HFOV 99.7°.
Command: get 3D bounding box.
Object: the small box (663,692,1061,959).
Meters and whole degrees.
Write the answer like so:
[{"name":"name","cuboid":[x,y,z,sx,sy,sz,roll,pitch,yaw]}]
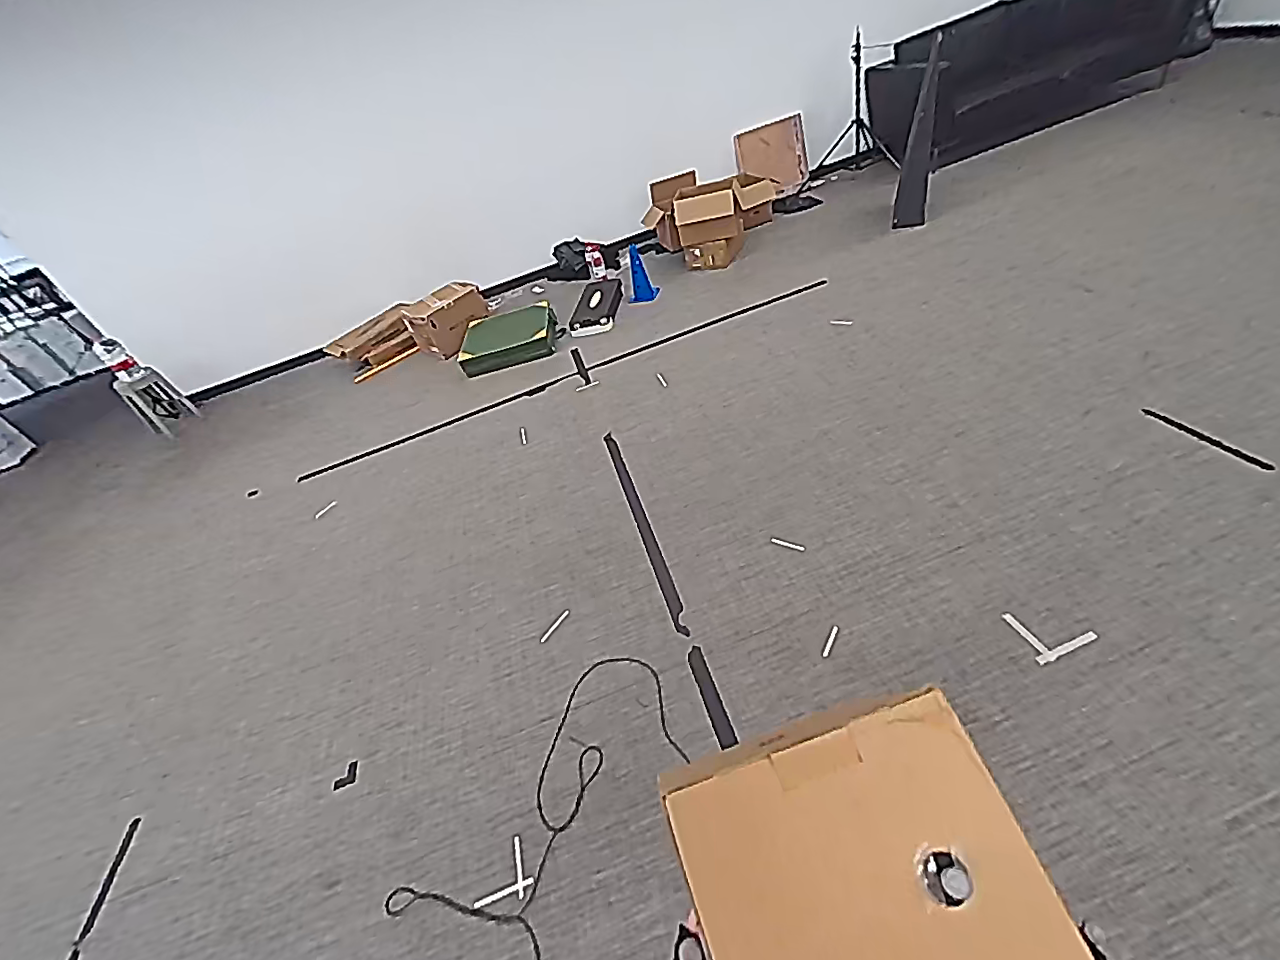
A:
[{"name":"small box","cuboid":[0.119,0.254,0.344,0.168,0.179,0.176,-18,65,-7]}]
